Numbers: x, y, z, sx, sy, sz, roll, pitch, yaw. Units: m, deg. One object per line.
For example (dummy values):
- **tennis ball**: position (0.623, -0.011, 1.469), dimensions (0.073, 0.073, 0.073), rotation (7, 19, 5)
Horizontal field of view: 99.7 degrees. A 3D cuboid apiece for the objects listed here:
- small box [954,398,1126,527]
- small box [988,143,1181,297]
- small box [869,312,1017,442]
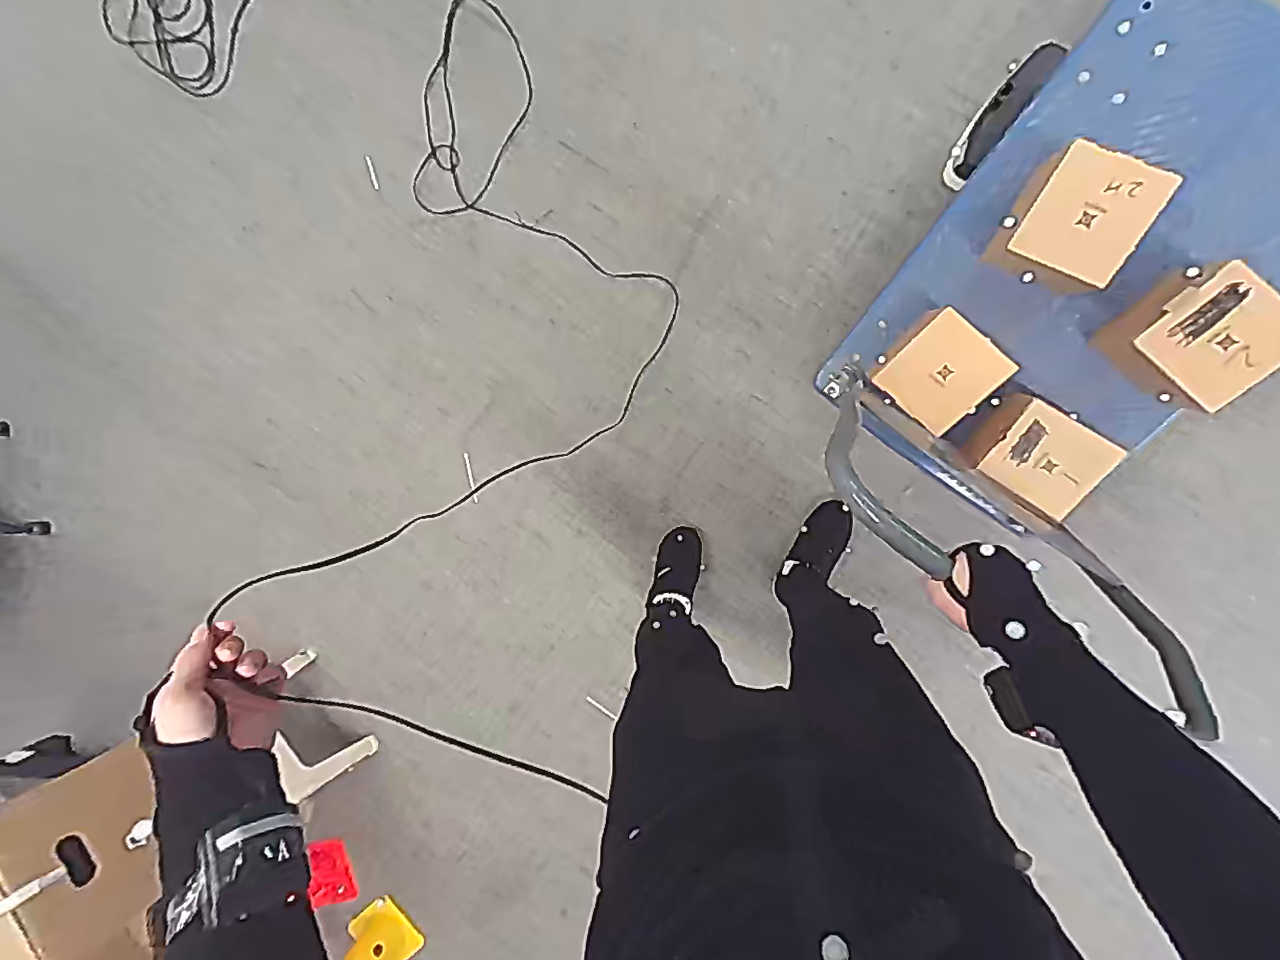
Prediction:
- **small box**: position (0.740, -0.043, 1.029), dimensions (0.179, 0.176, 0.168), rotation (34, 112, 6)
- **small box**: position (0.737, -0.431, 0.929), dimensions (0.168, 0.176, 0.179), rotation (29, 111, 8)
- **small box**: position (0.568, -0.205, 1.046), dimensions (0.168, 0.176, 0.179), rotation (44, 114, 2)
